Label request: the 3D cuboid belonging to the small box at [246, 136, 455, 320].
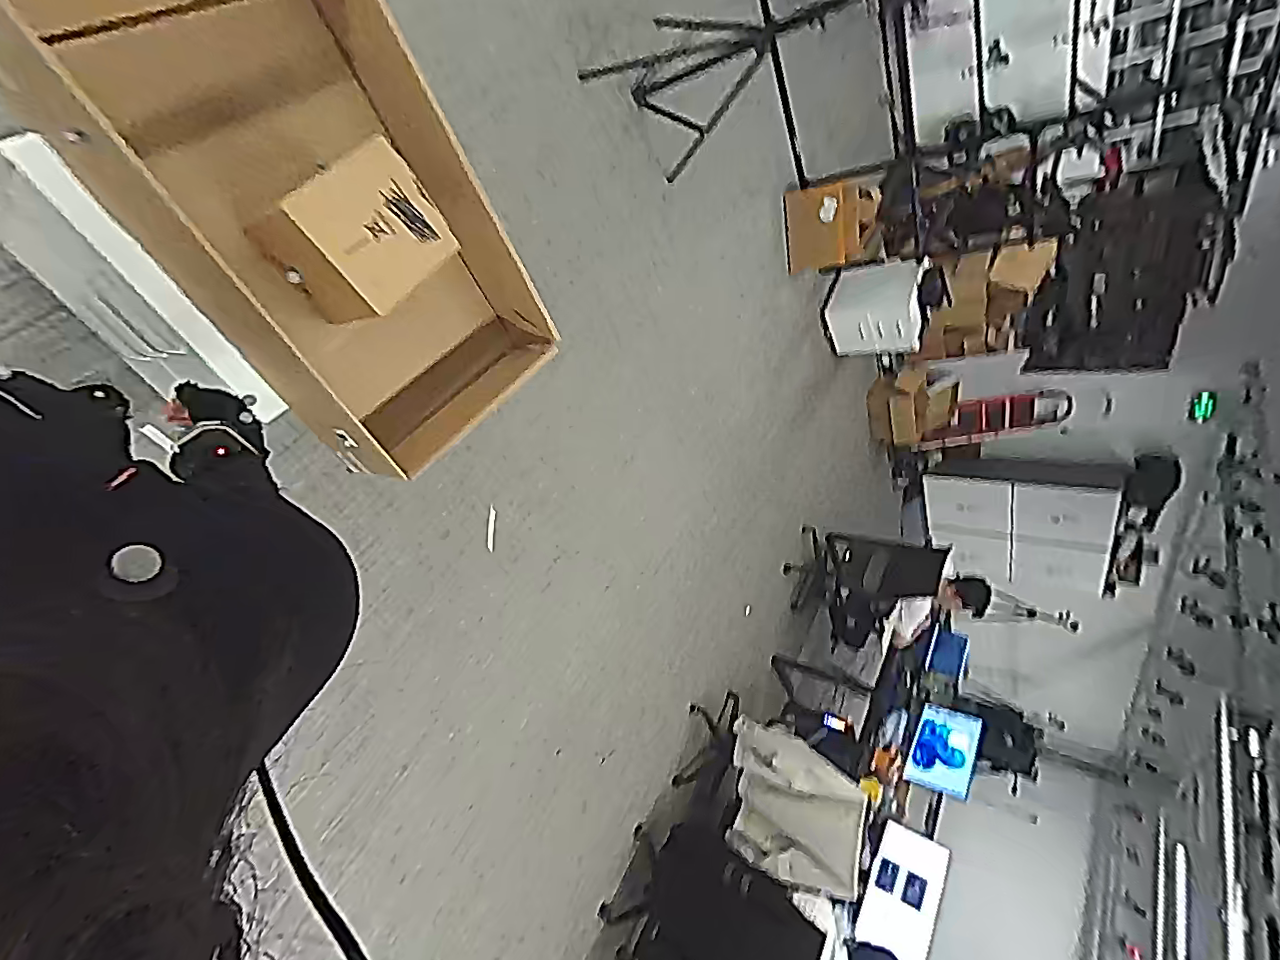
[{"bbox_3d":[-0.414,-0.350,0.776,0.179,0.176,0.168,-57,135,-26],"label":"small box"}]
